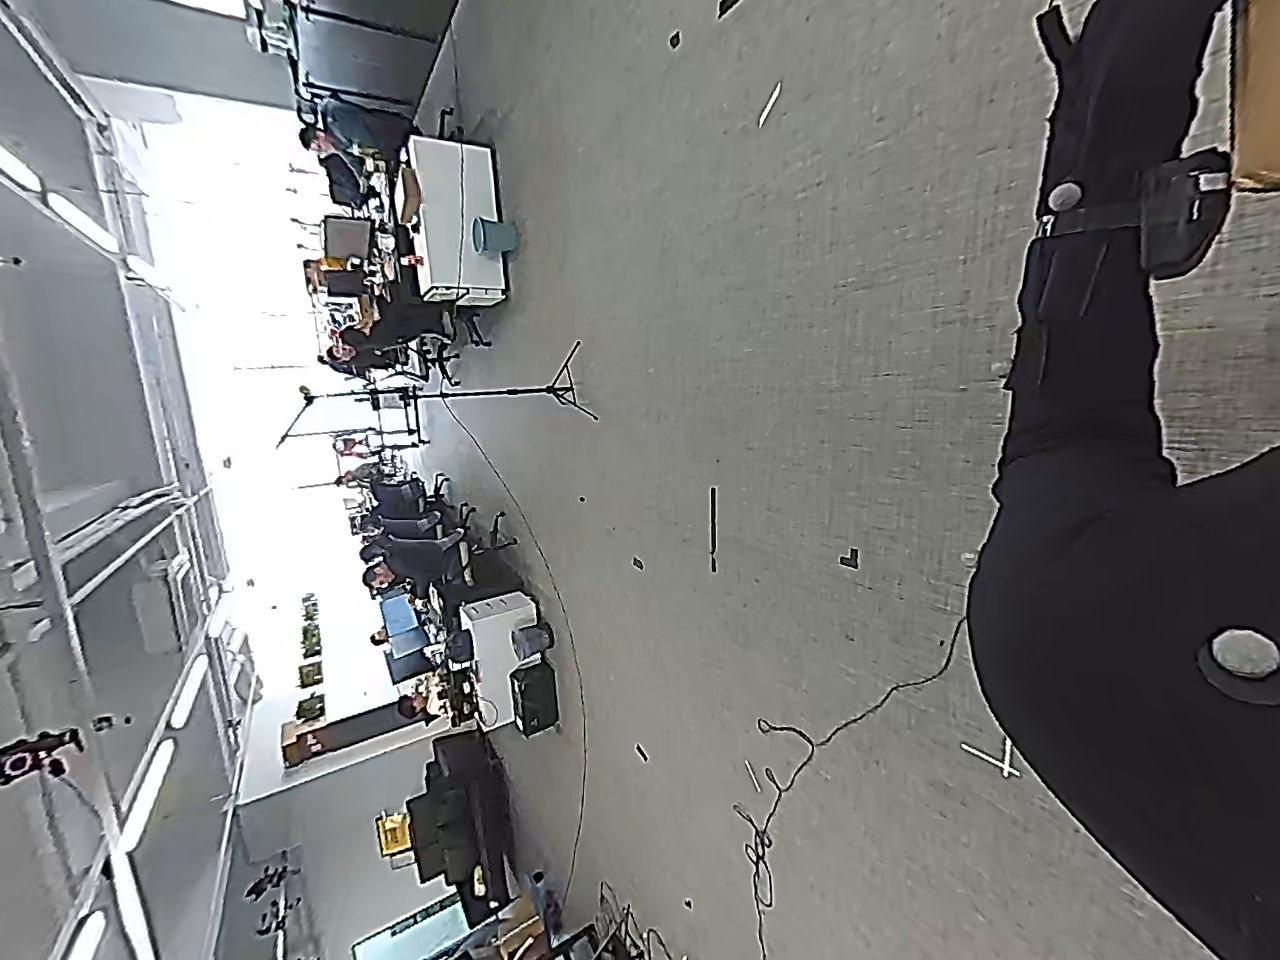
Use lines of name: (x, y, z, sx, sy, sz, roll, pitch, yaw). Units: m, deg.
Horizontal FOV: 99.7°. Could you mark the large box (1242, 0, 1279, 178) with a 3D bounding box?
large box: (0.526, -0.344, 0.183, 0.408, 0.320, 0.320, 5, 111, 56)
